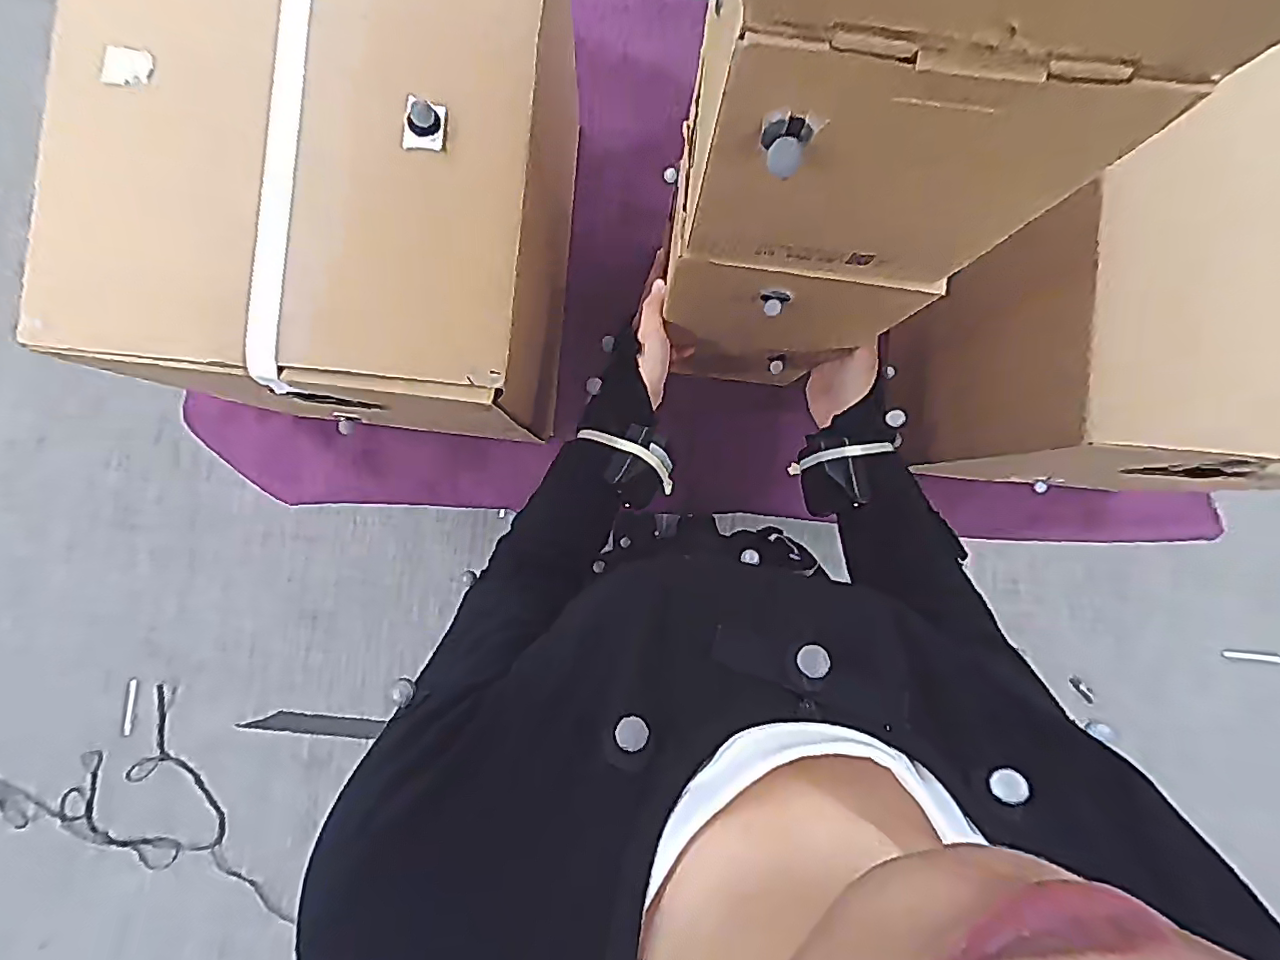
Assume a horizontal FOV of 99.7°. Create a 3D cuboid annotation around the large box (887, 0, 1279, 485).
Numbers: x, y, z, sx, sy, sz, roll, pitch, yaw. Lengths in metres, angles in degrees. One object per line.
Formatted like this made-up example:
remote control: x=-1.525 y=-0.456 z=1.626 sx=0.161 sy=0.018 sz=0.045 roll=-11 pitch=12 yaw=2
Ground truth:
large box: x=0.465 y=-0.206 z=0.526 sx=0.320 sy=0.320 sz=0.408 roll=4 pitch=87 yaw=-2
